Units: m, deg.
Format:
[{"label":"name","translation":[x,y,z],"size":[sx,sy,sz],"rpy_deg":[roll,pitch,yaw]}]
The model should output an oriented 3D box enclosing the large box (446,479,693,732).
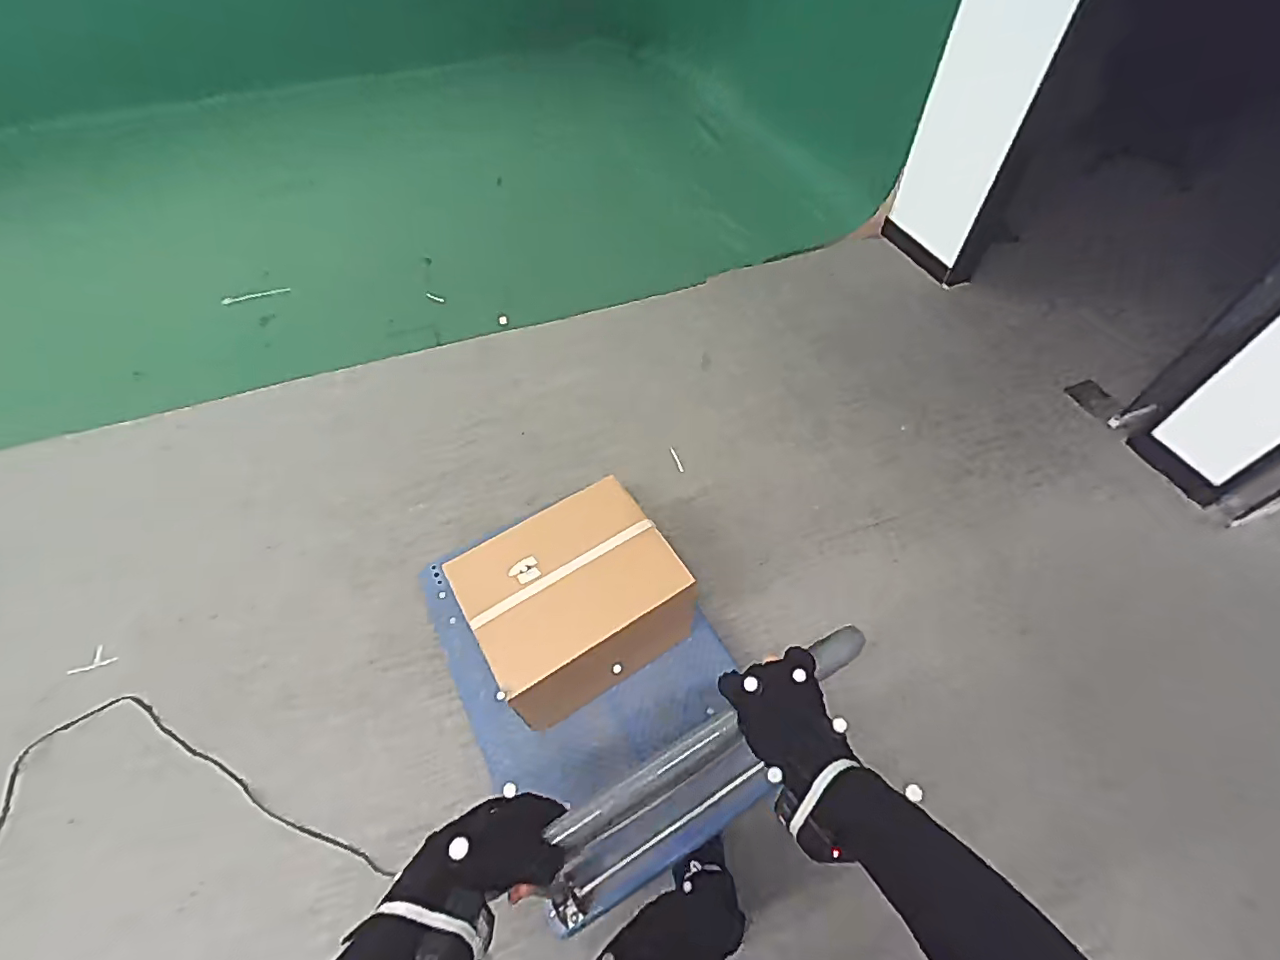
[{"label":"large box","translation":[-0.136,0.275,1.186],"size":[0.408,0.320,0.320],"rpy_deg":[-30,58,-18]}]
